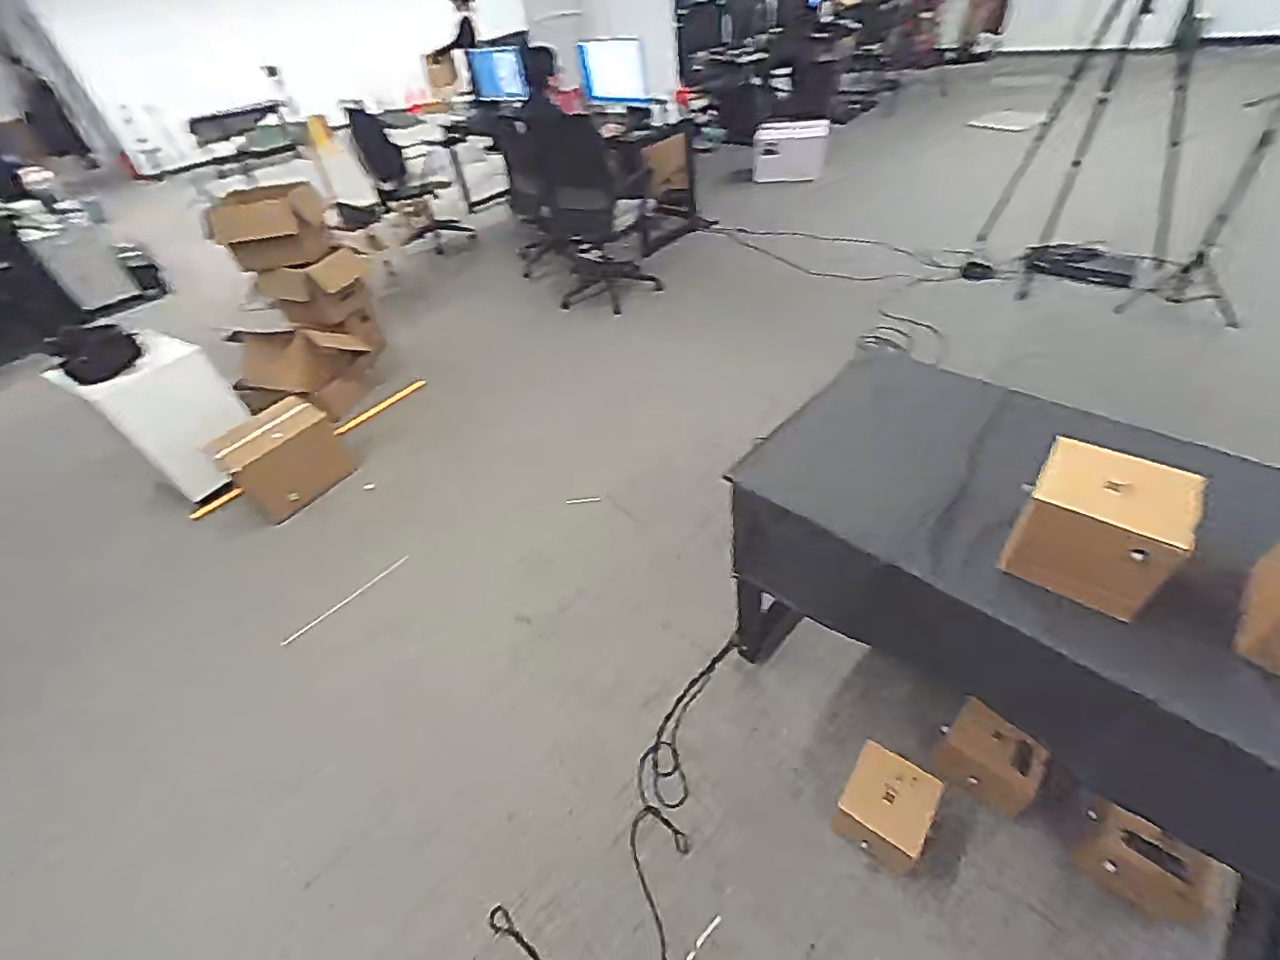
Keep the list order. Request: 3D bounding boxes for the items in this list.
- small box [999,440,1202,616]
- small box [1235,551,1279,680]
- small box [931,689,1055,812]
[{"bbox_3d":[0.682,0.073,0.817,0.179,0.176,0.168,27,54,32],"label":"small box"},{"bbox_3d":[0.908,0.168,0.676,0.168,0.176,0.179,28,55,34],"label":"small box"},{"bbox_3d":[0.814,0.636,1.261,0.179,0.176,0.168,28,55,35],"label":"small box"}]
